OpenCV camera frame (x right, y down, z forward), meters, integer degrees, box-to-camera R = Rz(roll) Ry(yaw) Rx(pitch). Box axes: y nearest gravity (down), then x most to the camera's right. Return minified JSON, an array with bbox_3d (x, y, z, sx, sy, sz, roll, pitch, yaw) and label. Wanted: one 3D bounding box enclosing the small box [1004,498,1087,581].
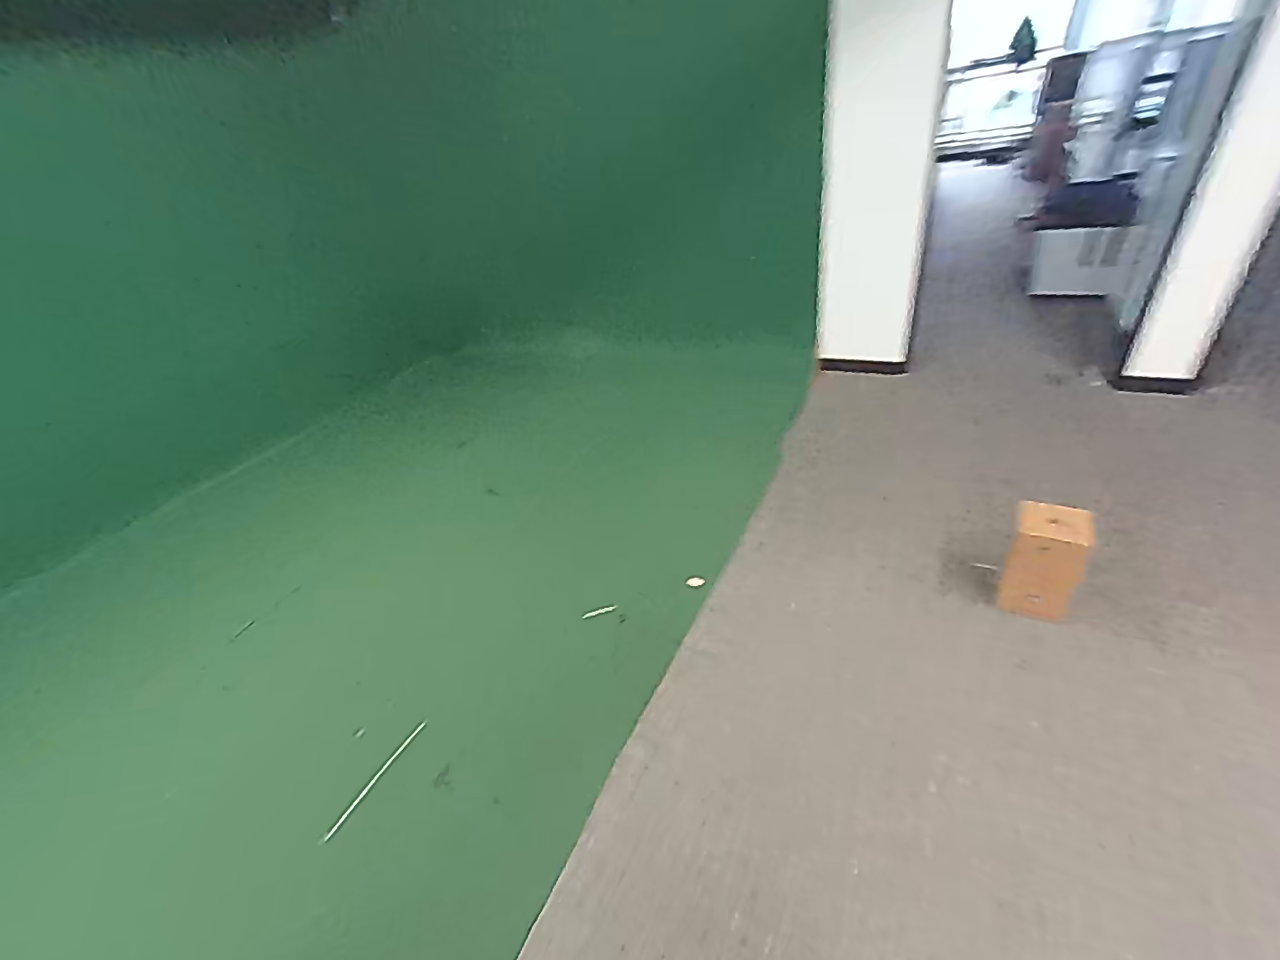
[{"bbox_3d":[1.224,0.181,1.638,0.179,0.176,0.168,12,43,30],"label":"small box"}]
